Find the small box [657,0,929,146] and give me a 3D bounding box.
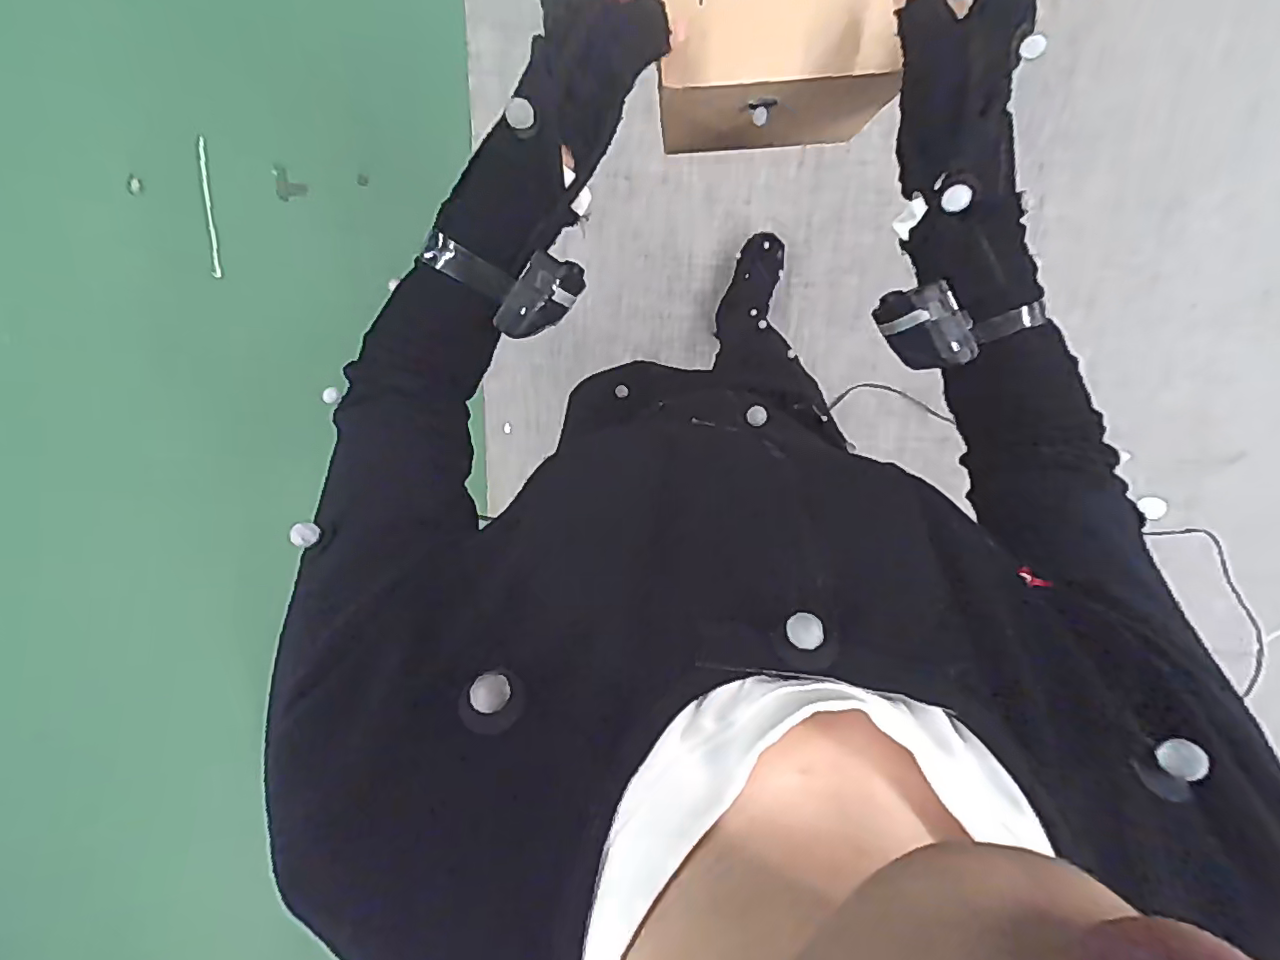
[{"bbox_3d":[0.102,-0.373,0.415,0.179,0.176,0.168,-1,108,3],"label":"small box"}]
